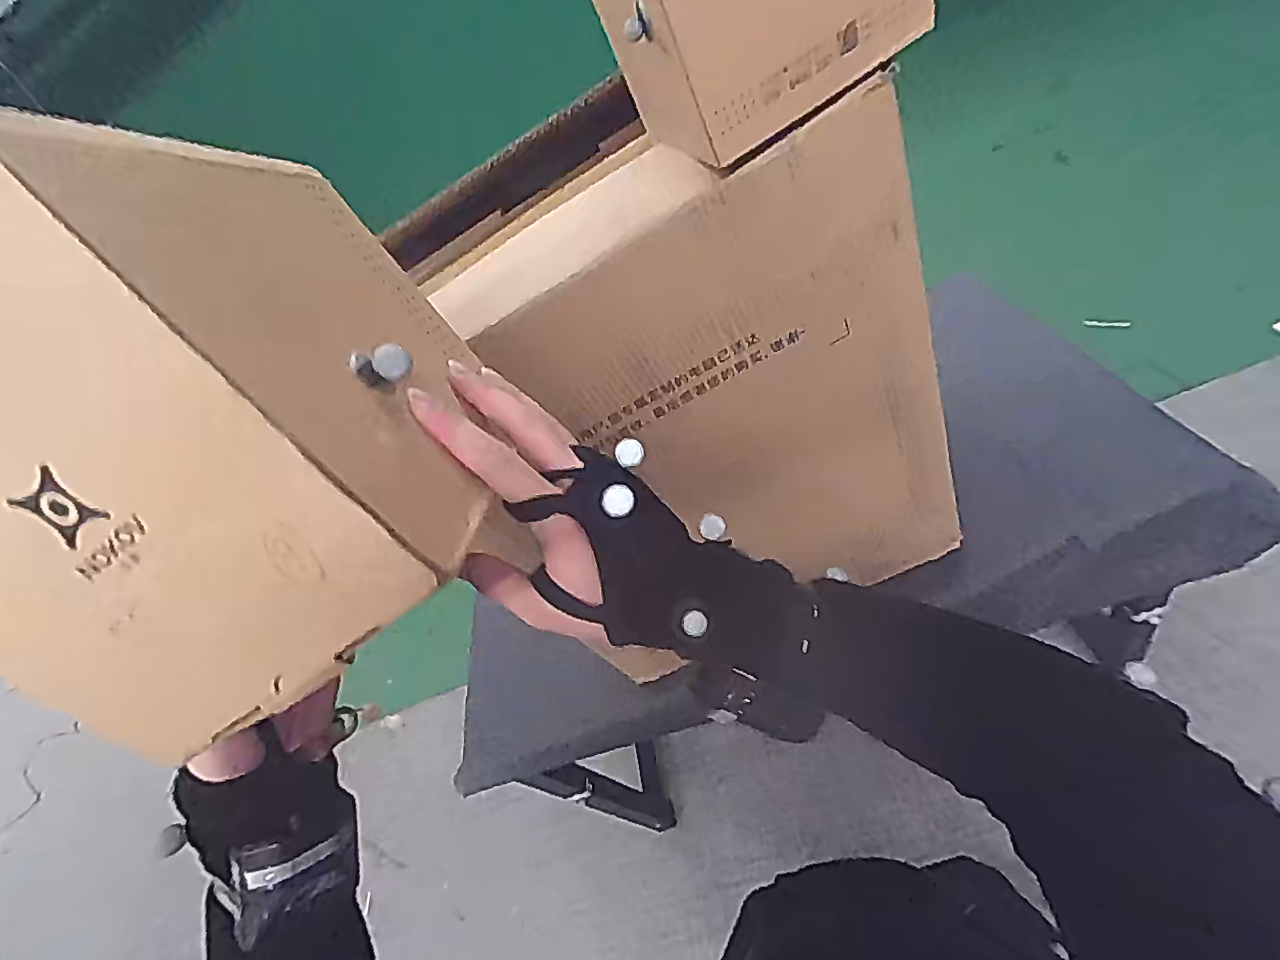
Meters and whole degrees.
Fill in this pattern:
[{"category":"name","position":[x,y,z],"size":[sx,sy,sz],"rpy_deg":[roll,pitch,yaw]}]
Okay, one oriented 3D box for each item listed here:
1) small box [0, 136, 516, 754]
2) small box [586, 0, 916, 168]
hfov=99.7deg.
[{"category":"small box","position":[-0.183,-0.021,0.253],"size":[0.168,0.179,0.176],"rpy_deg":[-34,21,14]},{"category":"small box","position":[0.063,-0.349,0.375],"size":[0.168,0.176,0.179],"rpy_deg":[-30,41,5]}]
